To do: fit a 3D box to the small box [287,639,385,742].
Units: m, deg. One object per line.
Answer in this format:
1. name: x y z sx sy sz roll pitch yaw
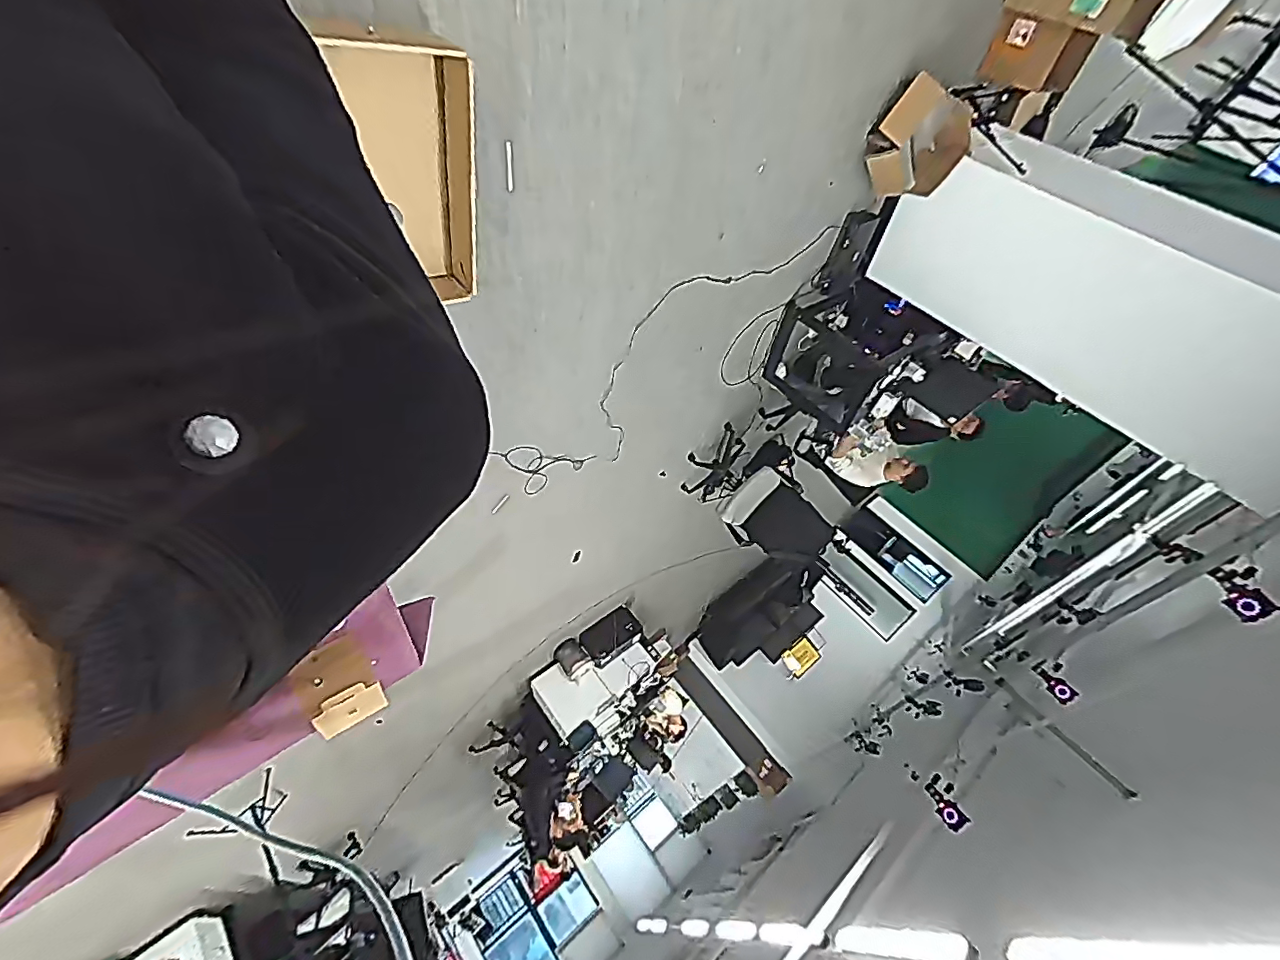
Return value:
1. small box: -0.805 0.551 1.434 0.168 0.176 0.179 -26 149 -32
